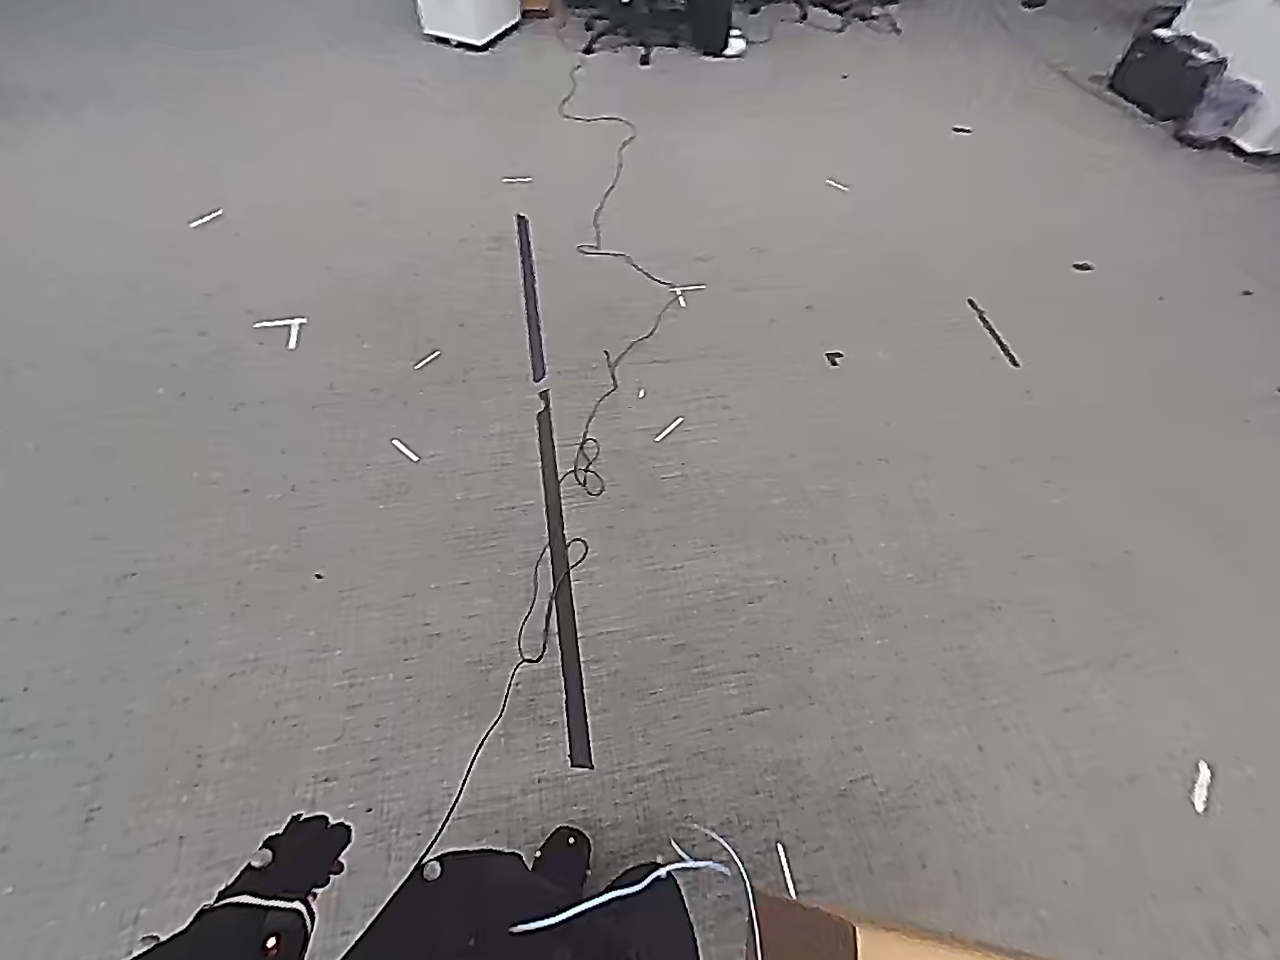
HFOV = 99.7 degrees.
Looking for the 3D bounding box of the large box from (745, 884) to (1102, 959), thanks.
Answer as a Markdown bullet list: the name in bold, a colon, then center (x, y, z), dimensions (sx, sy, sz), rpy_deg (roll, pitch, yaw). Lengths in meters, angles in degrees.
- **large box**: center (0.331, 0.729, 0.668), dimensions (0.320, 0.408, 0.320), rpy_deg (10, 57, 1)
